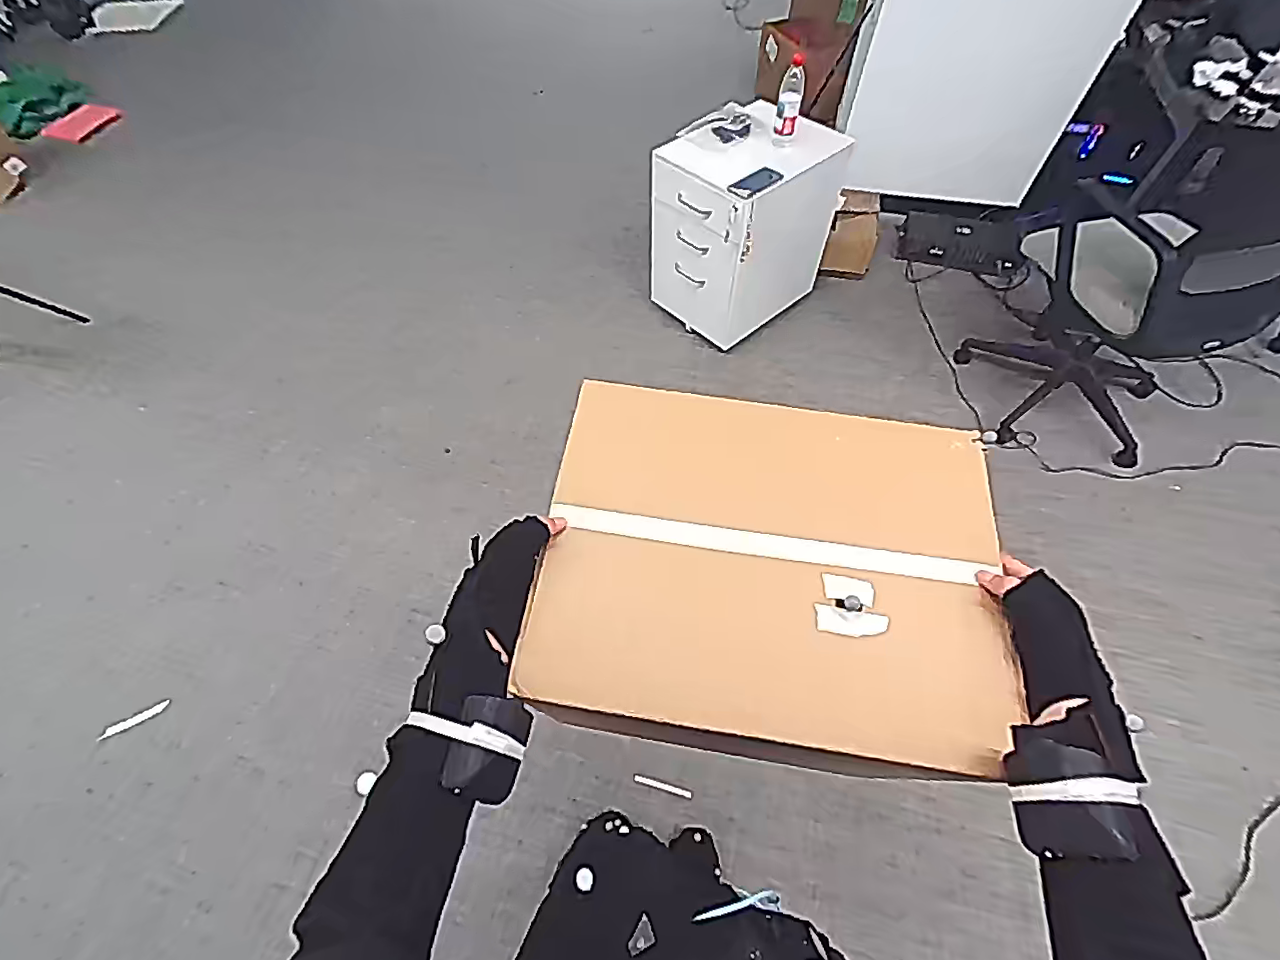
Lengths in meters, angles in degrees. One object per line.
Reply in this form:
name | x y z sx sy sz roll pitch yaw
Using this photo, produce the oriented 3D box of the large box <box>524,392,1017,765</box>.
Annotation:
large box | 0.115 0.132 0.628 0.408 0.320 0.320 8 63 3
